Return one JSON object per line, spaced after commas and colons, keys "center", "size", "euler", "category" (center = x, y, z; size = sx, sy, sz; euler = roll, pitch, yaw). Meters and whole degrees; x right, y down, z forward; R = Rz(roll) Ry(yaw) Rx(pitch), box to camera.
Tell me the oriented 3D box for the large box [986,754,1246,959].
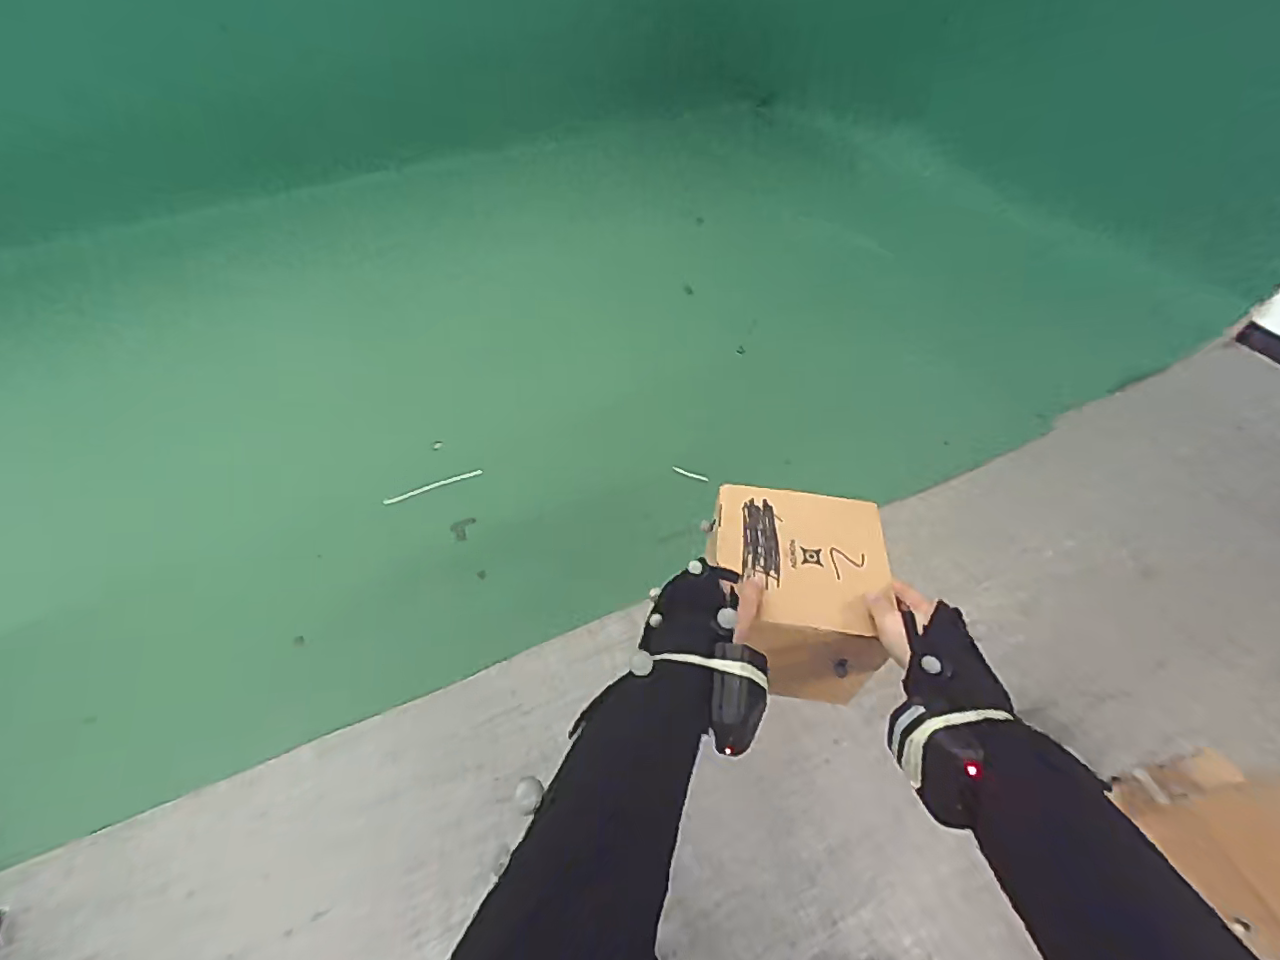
{"center": [0.896, 0.739, 0.893], "size": [0.320, 0.320, 0.408], "euler": [-15, 53, -8], "category": "large box"}
